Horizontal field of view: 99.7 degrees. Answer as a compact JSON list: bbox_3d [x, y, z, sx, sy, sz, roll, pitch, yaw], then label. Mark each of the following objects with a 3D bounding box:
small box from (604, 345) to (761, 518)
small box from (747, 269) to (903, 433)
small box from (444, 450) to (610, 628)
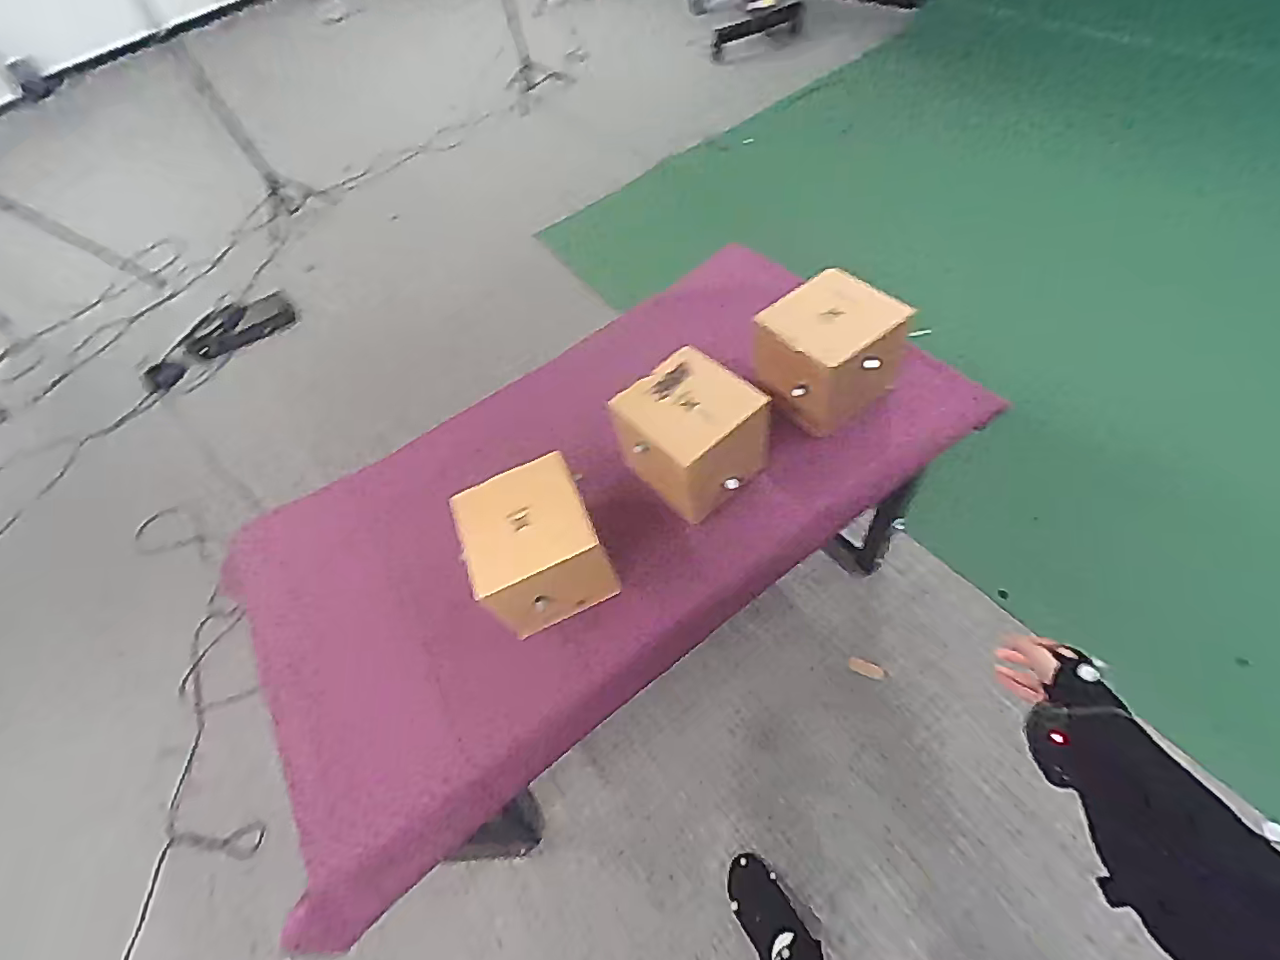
[{"bbox_3d":[0.069,-0.072,0.855,0.168,0.176,0.179,-38,59,-15],"label":"small box"},{"bbox_3d":[0.299,-0.210,0.904,0.179,0.176,0.168,-34,56,-12],"label":"small box"},{"bbox_3d":[-0.157,0.095,0.786,0.168,0.176,0.179,-25,55,-6],"label":"small box"}]
